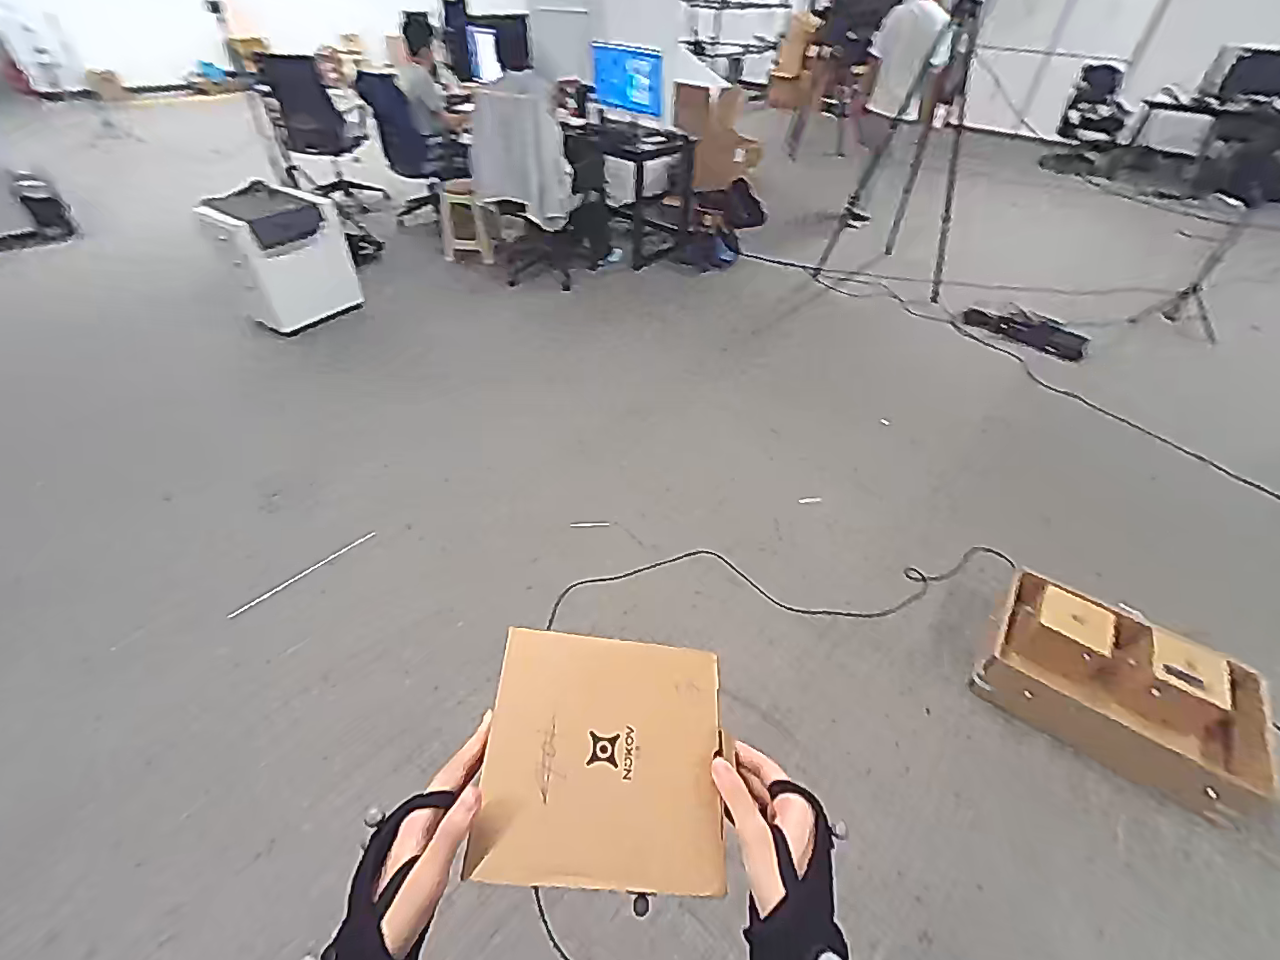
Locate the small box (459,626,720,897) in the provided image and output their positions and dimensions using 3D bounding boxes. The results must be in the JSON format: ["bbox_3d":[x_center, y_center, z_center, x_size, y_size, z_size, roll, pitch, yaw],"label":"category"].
[{"bbox_3d":[-0.040,0.244,0.466,0.179,0.176,0.168,10,54,-6],"label":"small box"}]

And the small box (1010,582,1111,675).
[{"bbox_3d":[1.238,0.444,1.601,0.179,0.176,0.168,29,51,24],"label":"small box"}]
